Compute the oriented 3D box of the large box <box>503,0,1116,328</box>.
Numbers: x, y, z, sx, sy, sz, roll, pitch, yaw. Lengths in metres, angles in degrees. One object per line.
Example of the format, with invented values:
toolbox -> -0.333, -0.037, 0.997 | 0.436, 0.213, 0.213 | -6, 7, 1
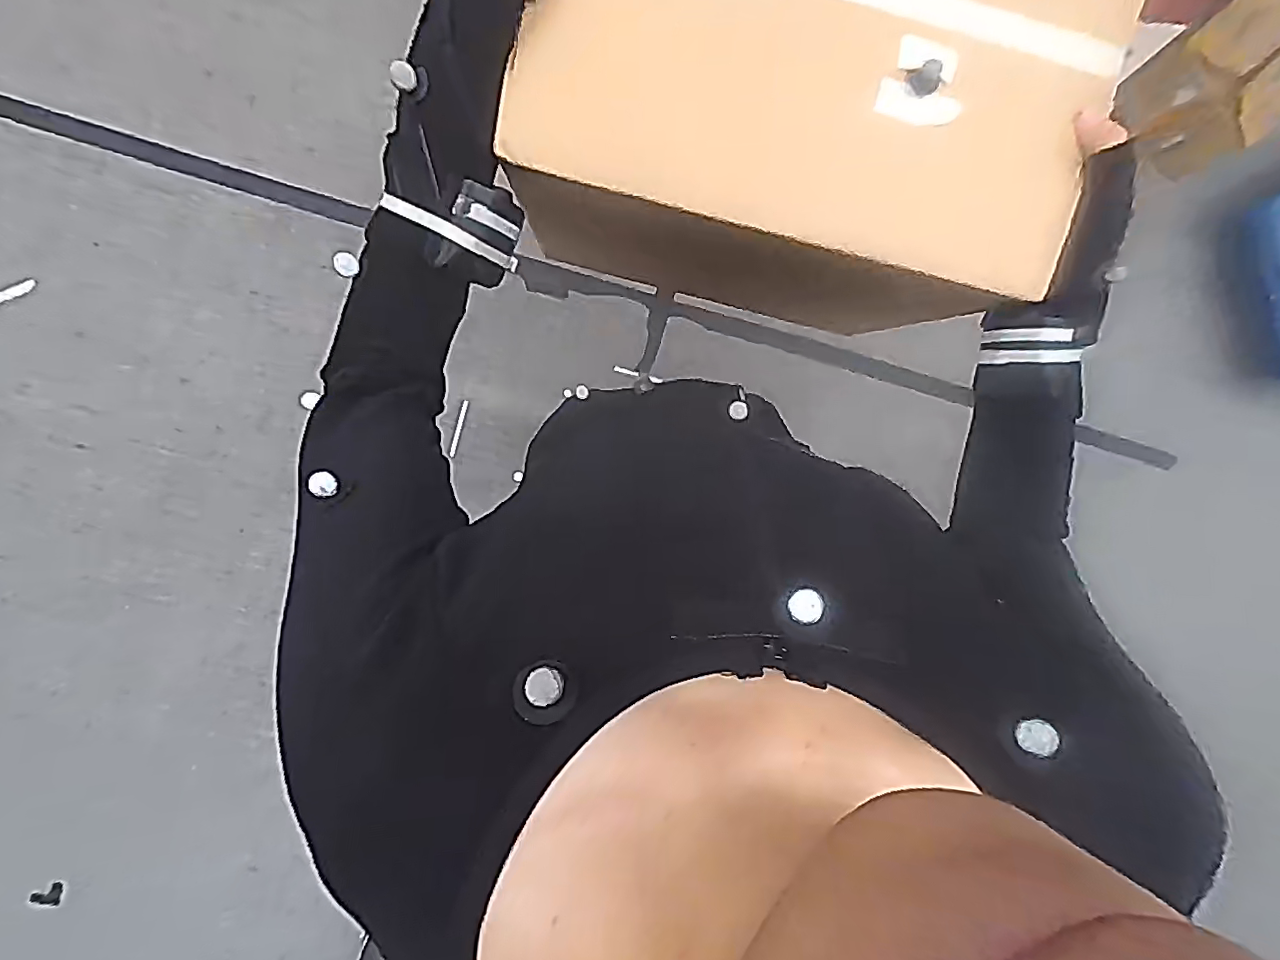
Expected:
large box -> 0.115, -0.354, 0.511 | 0.408, 0.320, 0.320 | 12, 99, -6
